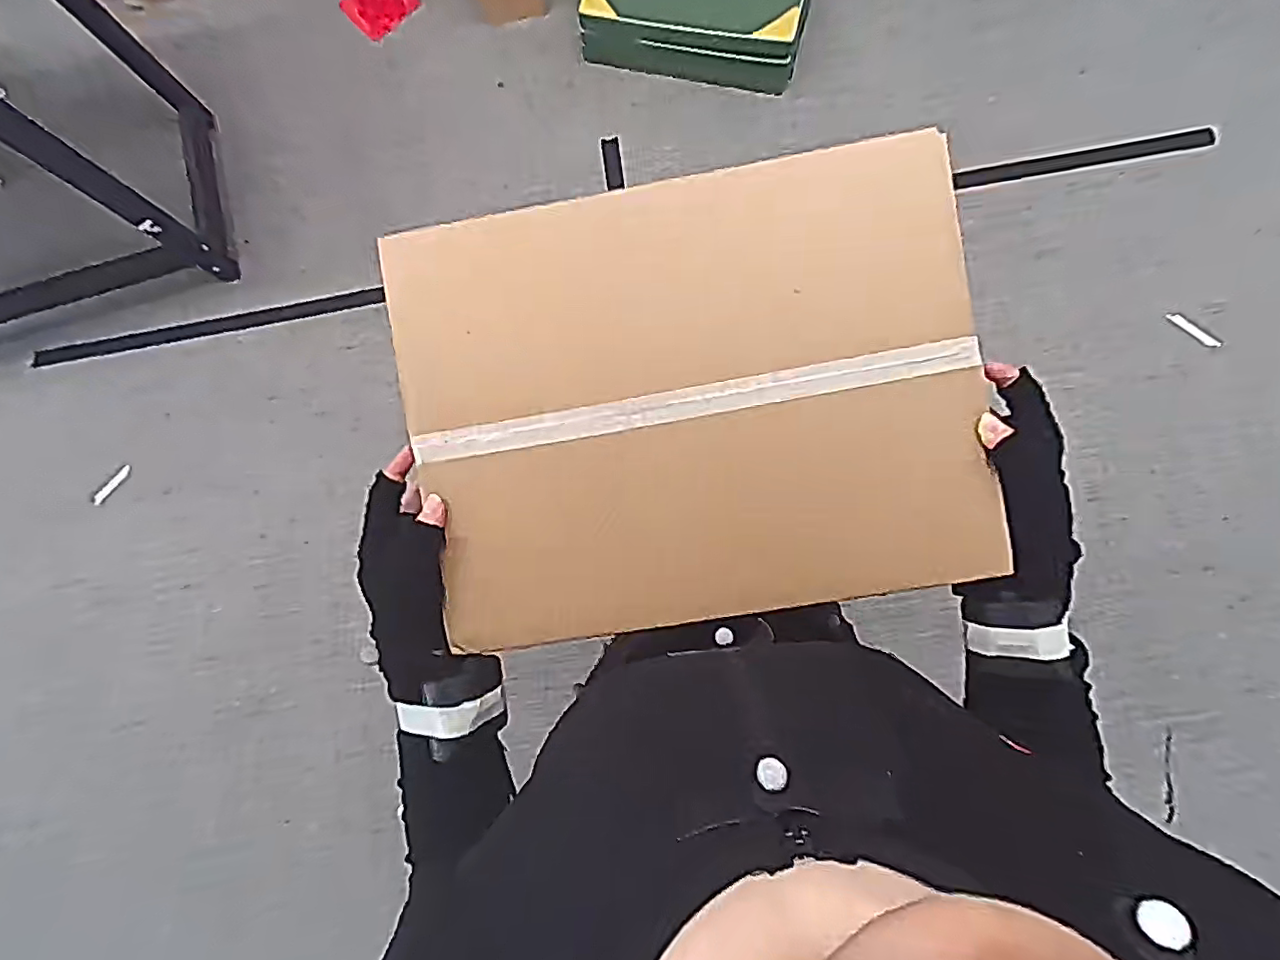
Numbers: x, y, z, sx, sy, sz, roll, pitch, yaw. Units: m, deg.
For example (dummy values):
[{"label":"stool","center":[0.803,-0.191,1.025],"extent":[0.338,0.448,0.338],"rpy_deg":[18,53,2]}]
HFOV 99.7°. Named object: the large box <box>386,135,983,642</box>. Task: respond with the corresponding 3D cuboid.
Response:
[{"label":"large box","center":[0.038,-0.067,0.545],"extent":[0.408,0.320,0.320],"rpy_deg":[-10,91,3]}]
